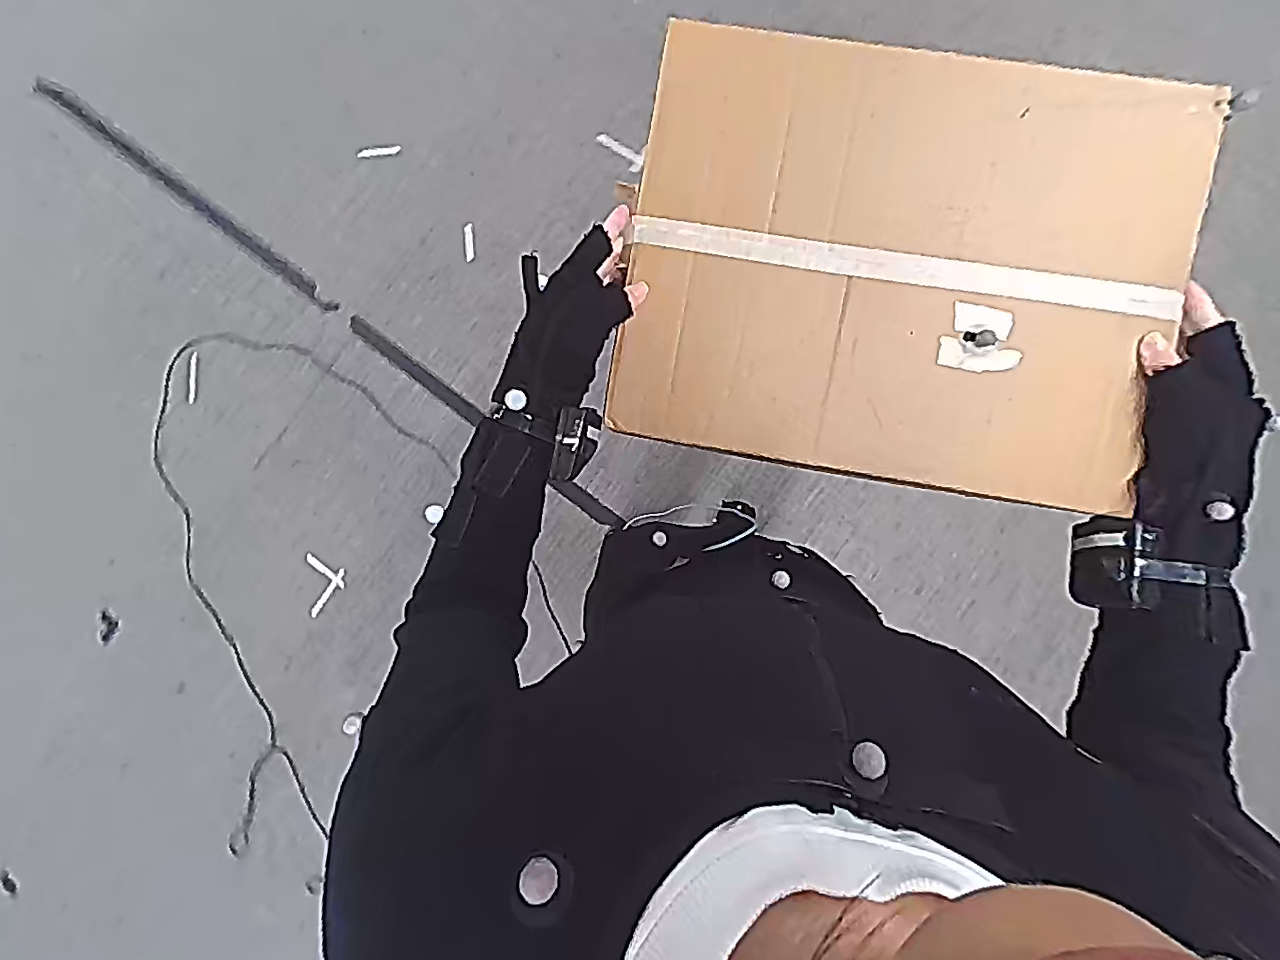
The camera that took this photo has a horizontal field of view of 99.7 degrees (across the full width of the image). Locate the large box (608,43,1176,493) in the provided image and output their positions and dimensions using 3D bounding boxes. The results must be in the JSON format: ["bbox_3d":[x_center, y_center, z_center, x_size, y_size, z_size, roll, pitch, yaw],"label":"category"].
[{"bbox_3d":[0.194,-0.173,0.570,0.408,0.320,0.320,8,94,2],"label":"large box"}]
